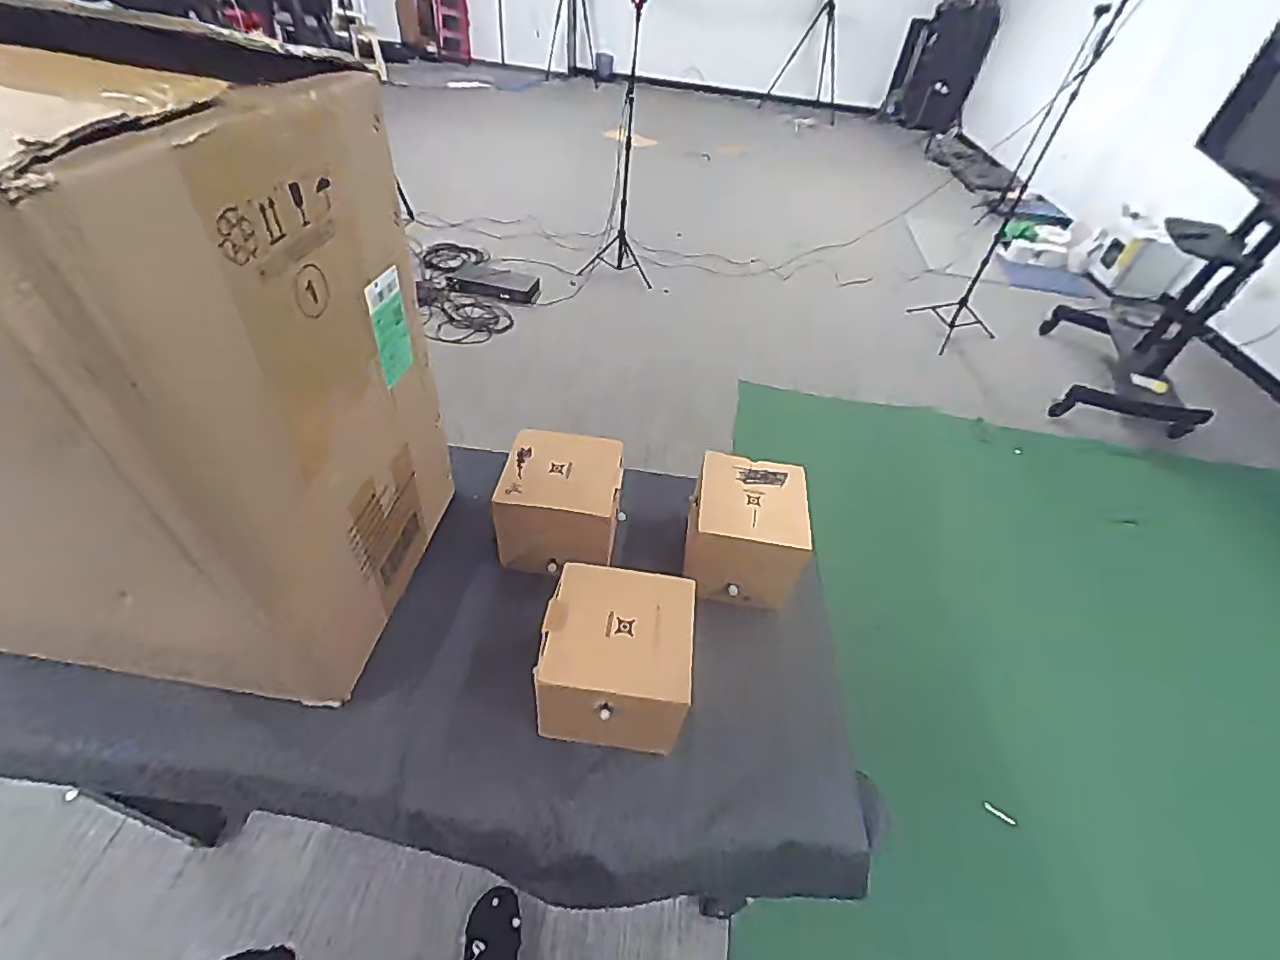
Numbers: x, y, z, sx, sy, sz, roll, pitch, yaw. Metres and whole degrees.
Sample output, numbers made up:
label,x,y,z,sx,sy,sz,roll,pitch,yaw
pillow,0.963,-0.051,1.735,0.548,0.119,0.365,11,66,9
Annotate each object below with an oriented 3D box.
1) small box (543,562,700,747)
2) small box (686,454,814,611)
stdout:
label,x,y,z,sx,sy,sz,roll,pitch,yaw
small box,-0.023,0.233,0.715,0.179,0.176,0.168,9,46,0
small box,0.173,0.086,0.887,0.168,0.176,0.179,10,45,2
